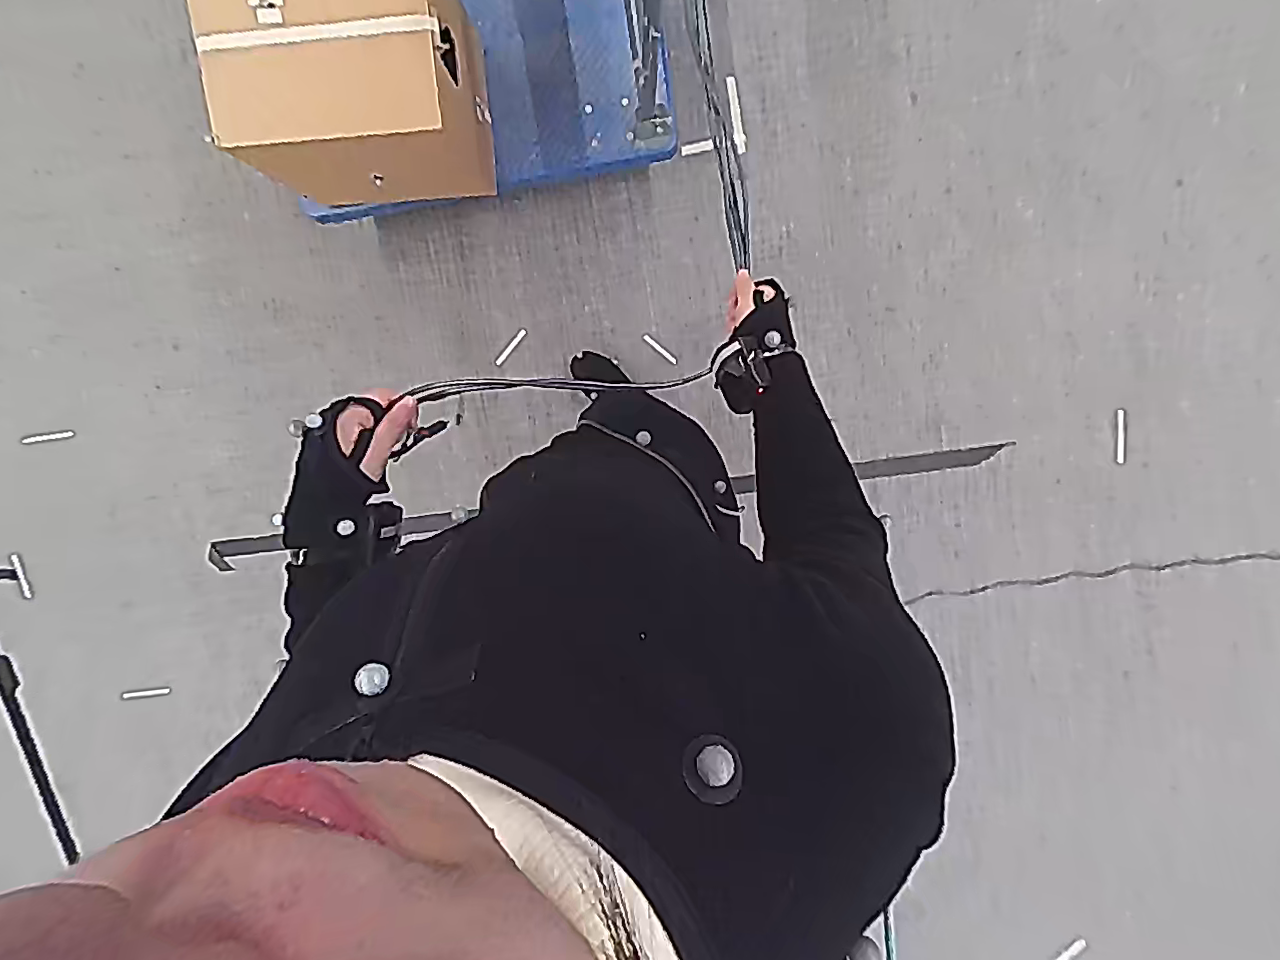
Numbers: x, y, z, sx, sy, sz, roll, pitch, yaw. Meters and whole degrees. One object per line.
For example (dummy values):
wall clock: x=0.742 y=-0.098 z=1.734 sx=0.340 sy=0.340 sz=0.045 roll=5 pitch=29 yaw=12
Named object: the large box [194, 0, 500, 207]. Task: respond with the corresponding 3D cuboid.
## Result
large box: x=-0.523 y=-0.748 z=1.037 sx=0.408 sy=0.320 sz=0.320 roll=-3 pitch=99 yaw=3
